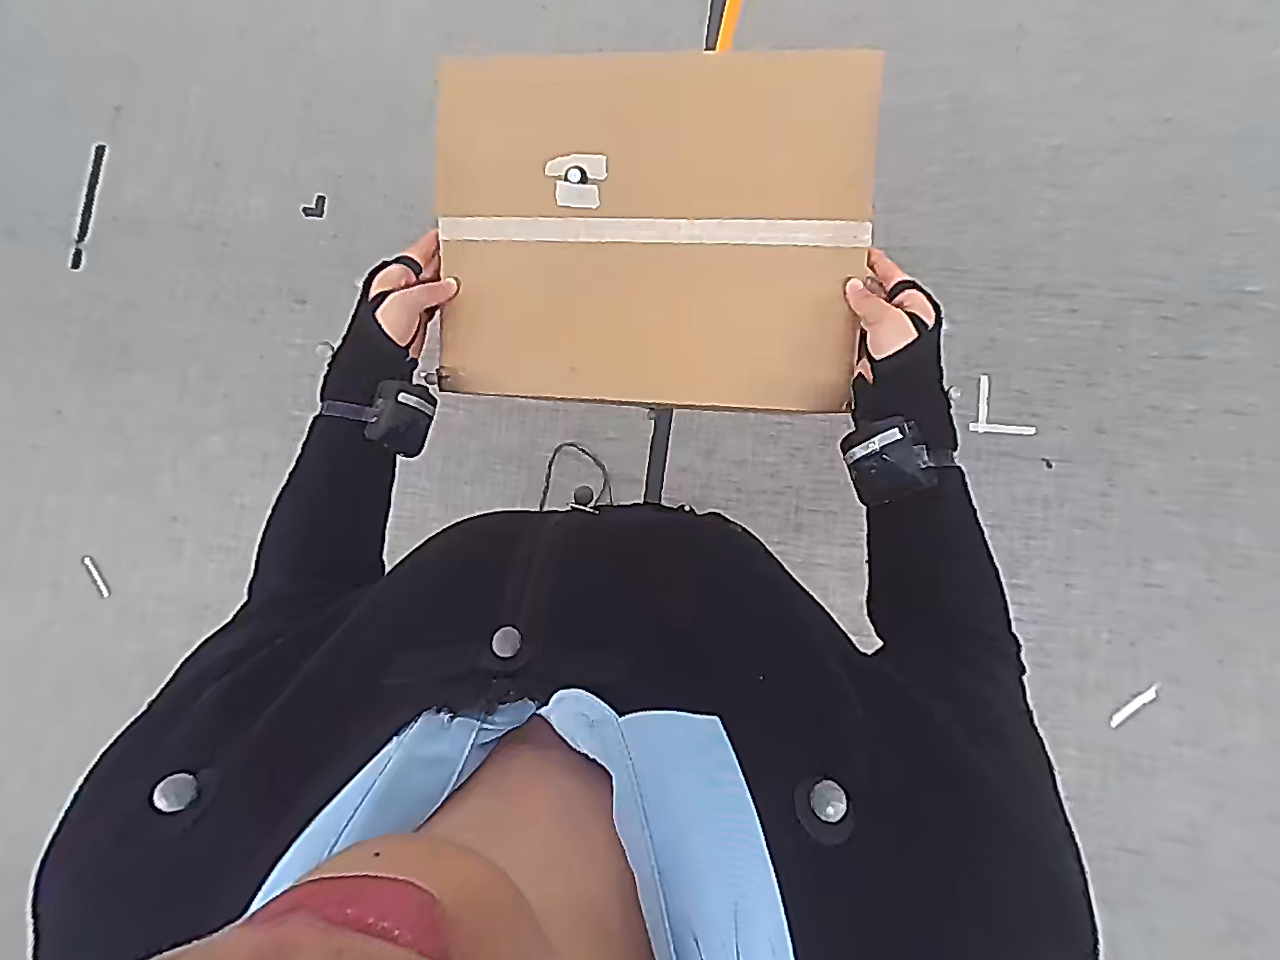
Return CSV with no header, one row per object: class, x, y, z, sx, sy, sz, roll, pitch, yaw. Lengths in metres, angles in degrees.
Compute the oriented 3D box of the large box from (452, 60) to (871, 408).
large box,0.027,-0.248,0.669,0.408,0.320,0.320,3,95,6
